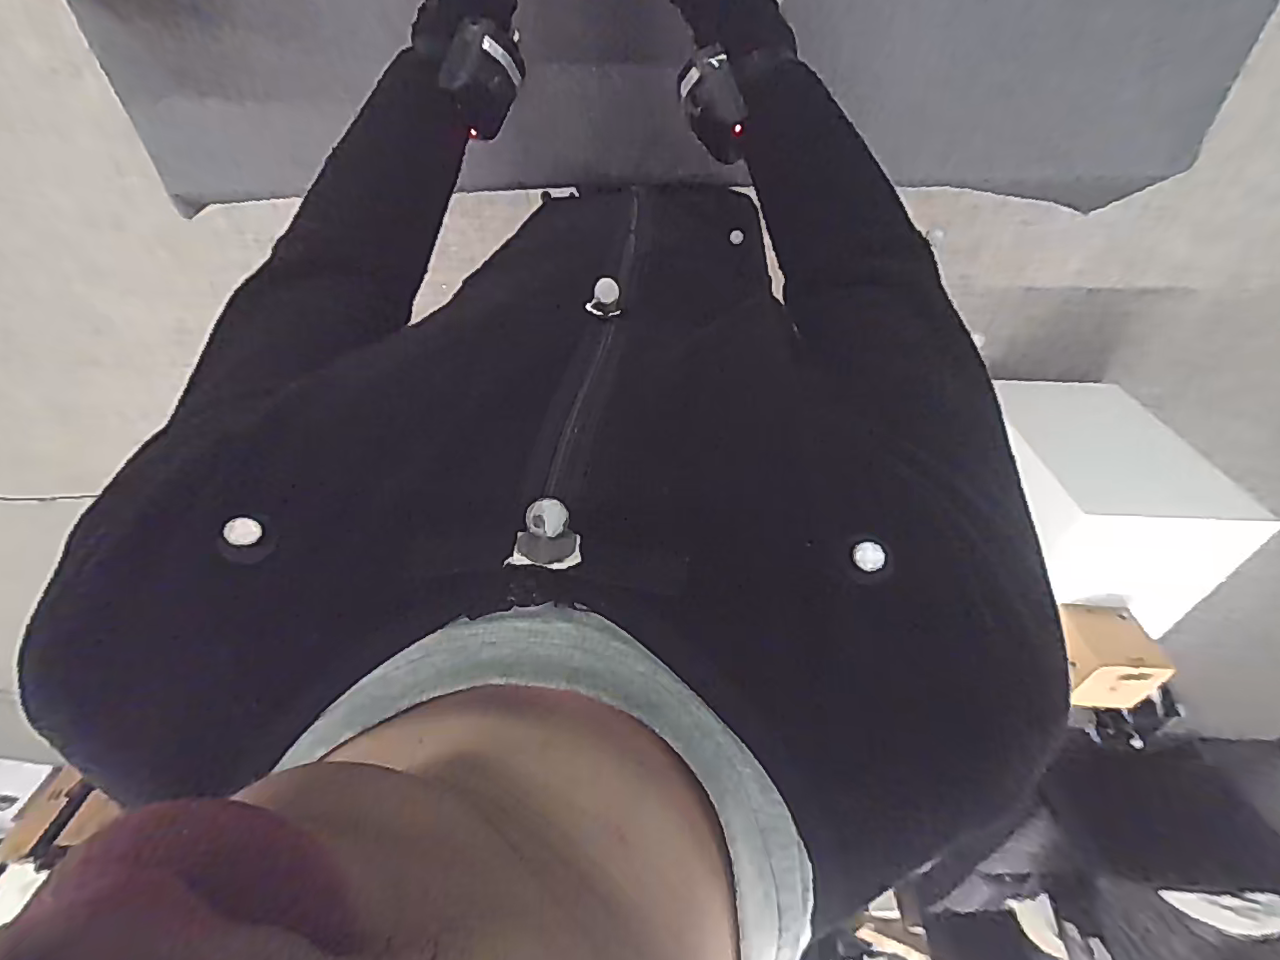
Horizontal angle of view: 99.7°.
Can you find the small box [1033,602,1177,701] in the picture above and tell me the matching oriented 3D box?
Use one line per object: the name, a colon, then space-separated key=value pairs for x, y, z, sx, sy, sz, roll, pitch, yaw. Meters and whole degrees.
small box: x=1.103 y=0.410 z=1.304 sx=0.168 sy=0.176 sz=0.179 roll=1 pitch=130 yaw=0
